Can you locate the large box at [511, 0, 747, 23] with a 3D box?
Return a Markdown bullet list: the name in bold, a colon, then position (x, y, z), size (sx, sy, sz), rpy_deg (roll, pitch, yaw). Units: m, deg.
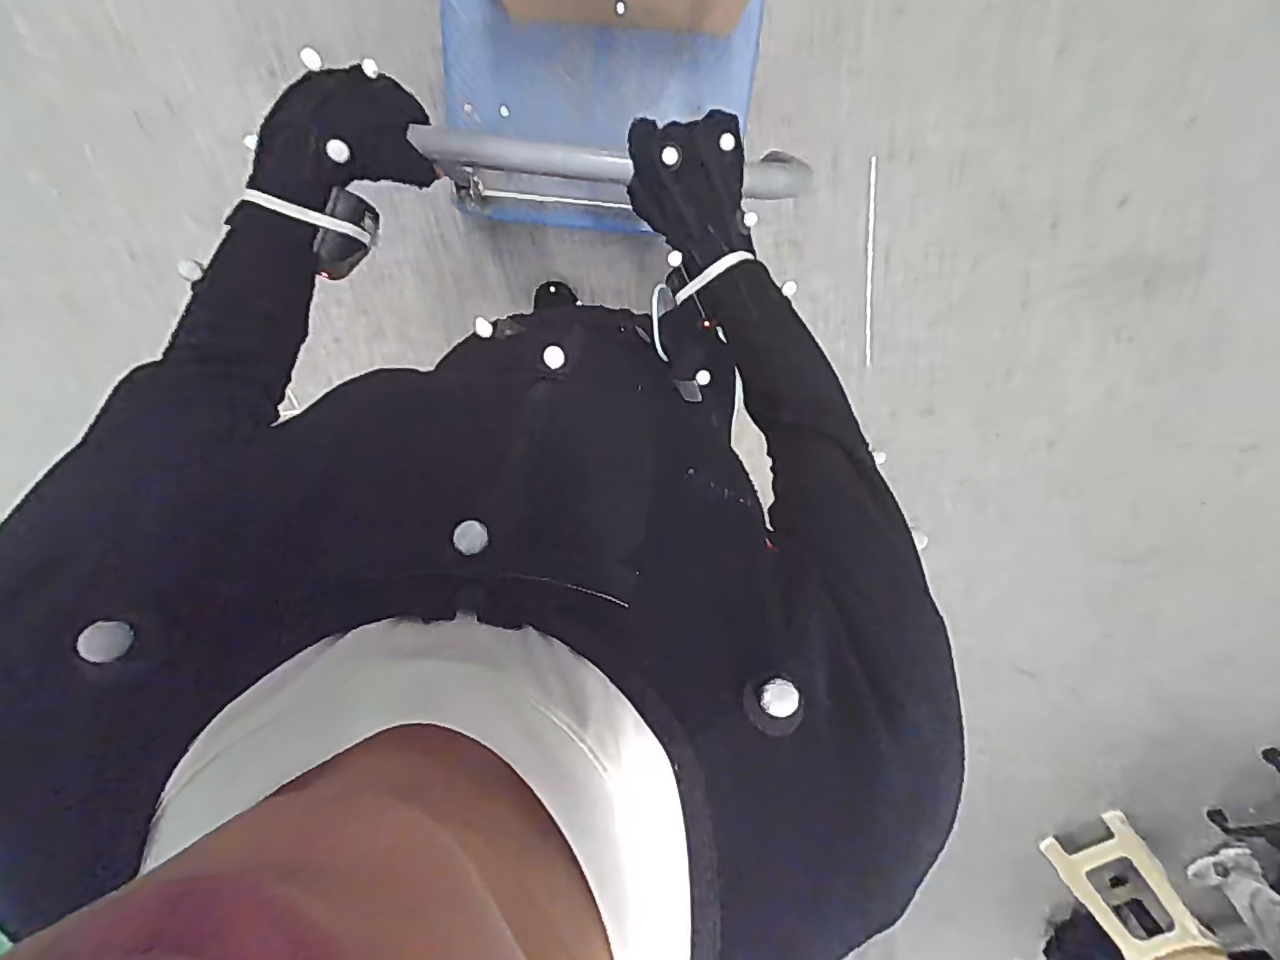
- **large box**: position (-0.018, -0.904, 0.784), size (0.408, 0.320, 0.320), rpy_deg (2, 116, -1)
